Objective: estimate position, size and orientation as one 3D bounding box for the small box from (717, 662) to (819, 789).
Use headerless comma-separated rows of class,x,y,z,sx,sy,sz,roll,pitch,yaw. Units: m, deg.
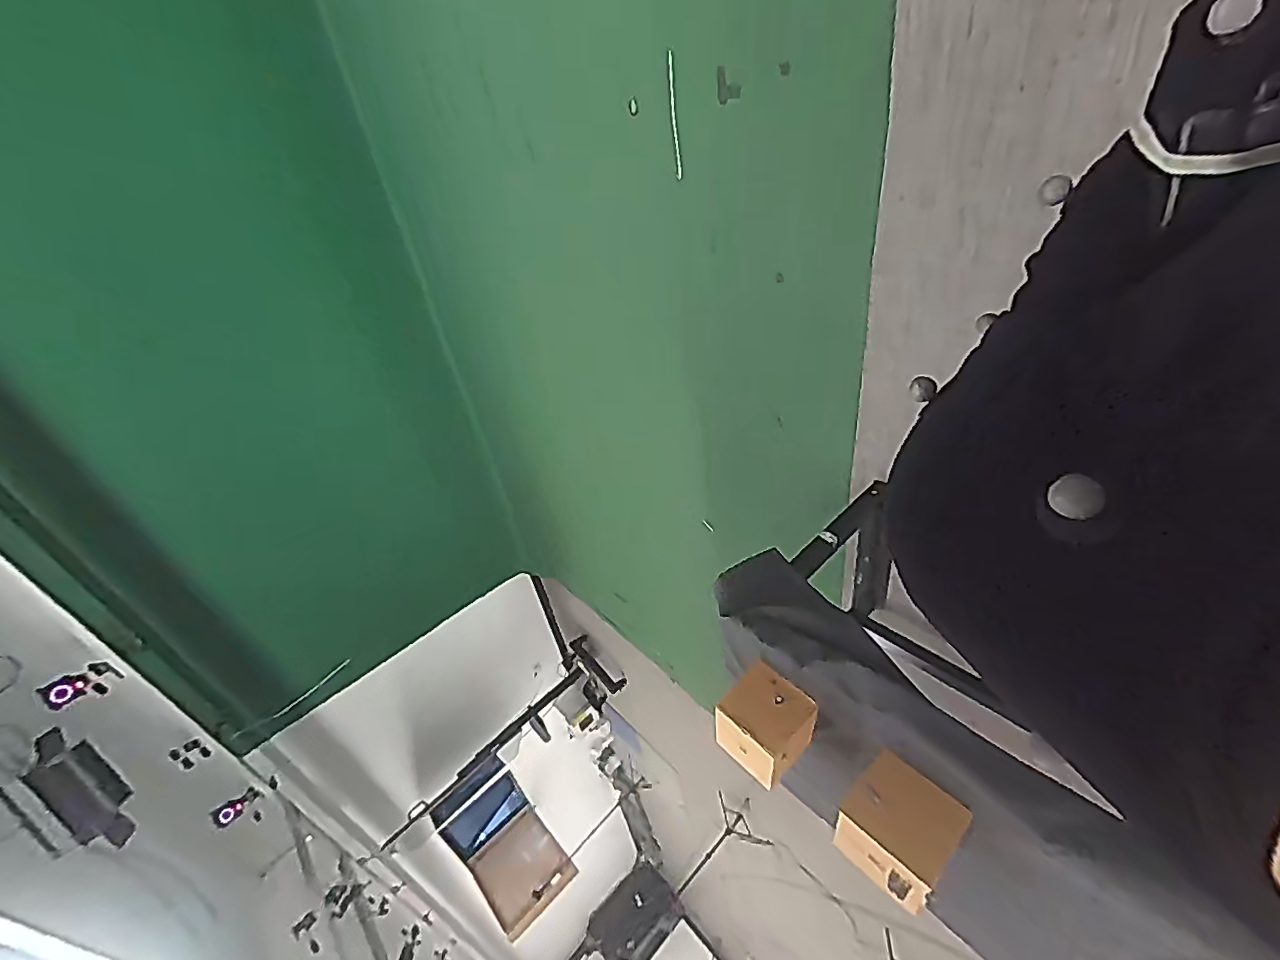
small box,0.300,0.571,1.271,0.168,0.176,0.179,31,142,38
